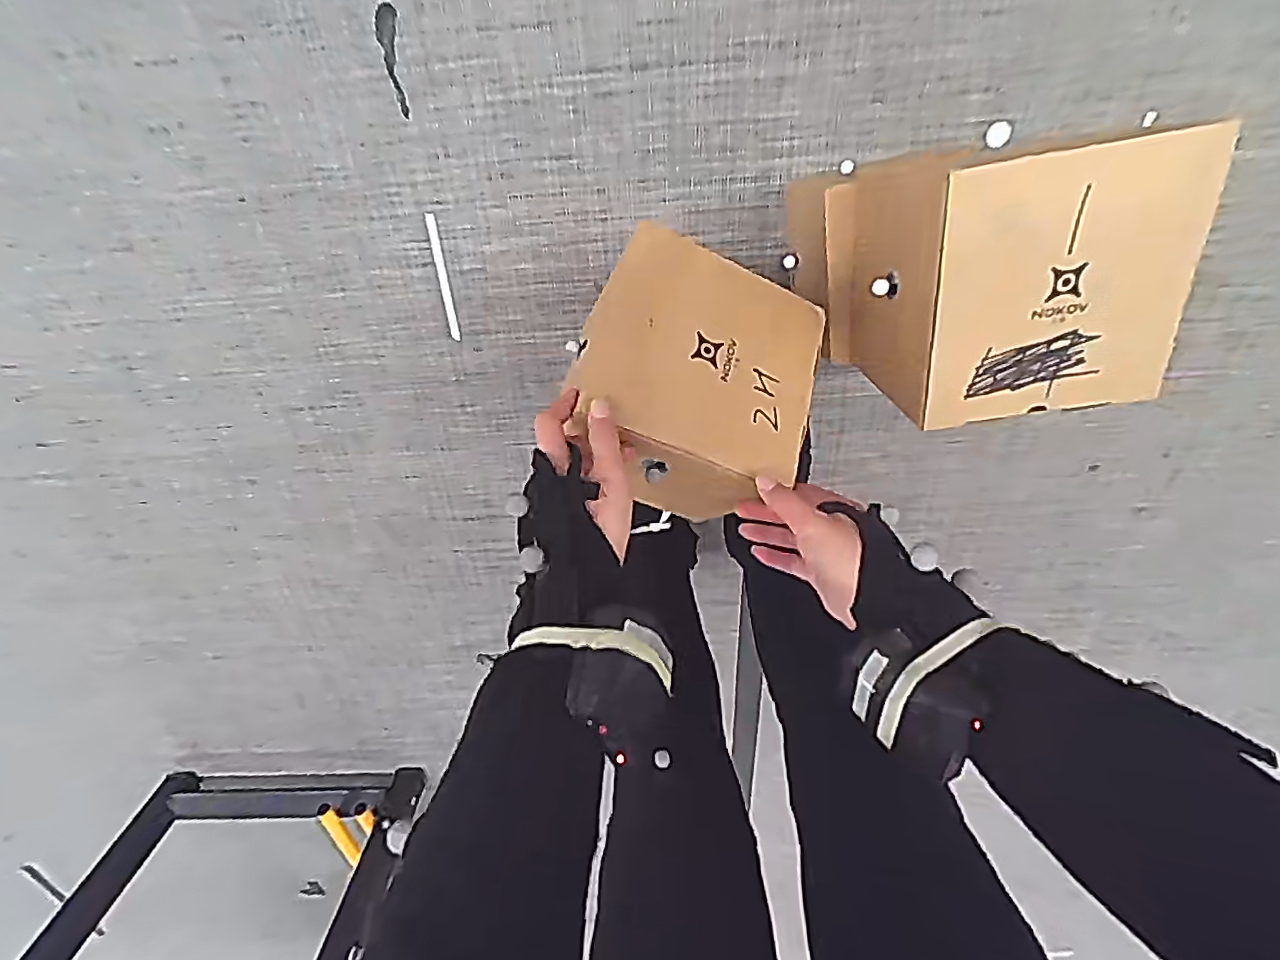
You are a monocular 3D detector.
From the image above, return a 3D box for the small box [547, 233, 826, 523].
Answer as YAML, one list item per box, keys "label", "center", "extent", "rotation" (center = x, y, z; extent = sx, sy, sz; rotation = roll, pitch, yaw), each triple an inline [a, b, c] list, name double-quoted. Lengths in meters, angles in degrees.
- label: "small box"
  center: [0.030, -0.069, 0.478]
  extent: [0.179, 0.168, 0.176]
  rotation: [20, 162, -15]

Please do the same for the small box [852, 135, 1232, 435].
- label: "small box"
  center: [0.280, -0.157, 0.432]
  extent: [0.168, 0.176, 0.179]
  rotation: [-8, 118, 5]
